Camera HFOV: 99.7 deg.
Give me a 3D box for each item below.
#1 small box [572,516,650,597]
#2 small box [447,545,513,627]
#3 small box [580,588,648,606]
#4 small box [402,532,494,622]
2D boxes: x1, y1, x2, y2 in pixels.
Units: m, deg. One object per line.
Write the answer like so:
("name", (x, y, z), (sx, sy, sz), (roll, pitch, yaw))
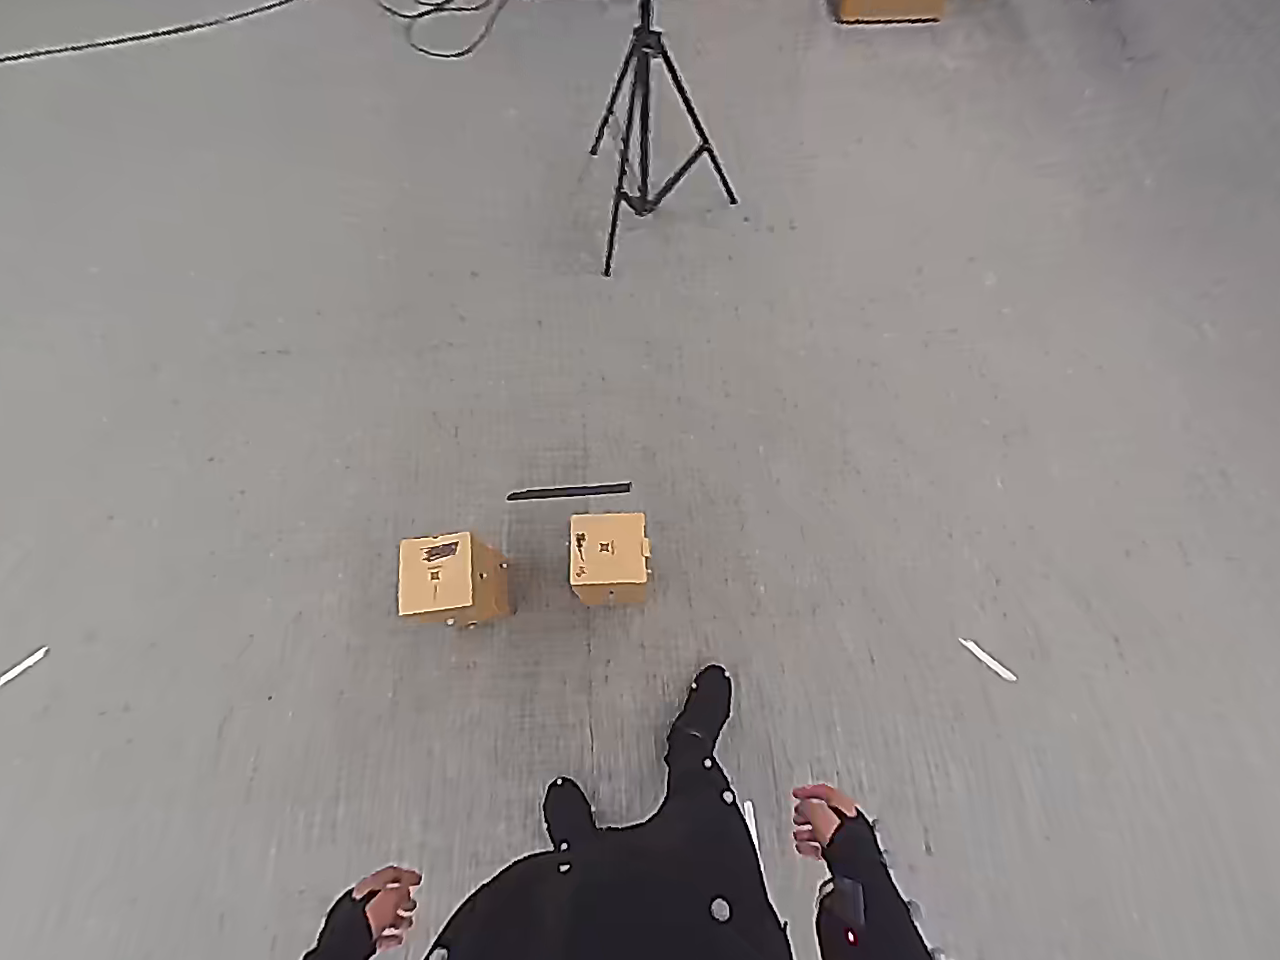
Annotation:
("small box", (-0.068, 0.190, 1.317), (0.179, 0.176, 0.168), (0, 69, -1))
("small box", (-0.446, 0.290, 1.457), (0.168, 0.176, 0.179), (-8, 70, -2))
("small box", (-0.067, 0.249, 1.470), (0.179, 0.176, 0.168), (-1, 70, -1))
("small box", (-0.455, 0.238, 1.302), (0.168, 0.176, 0.179), (-7, 70, -1))
